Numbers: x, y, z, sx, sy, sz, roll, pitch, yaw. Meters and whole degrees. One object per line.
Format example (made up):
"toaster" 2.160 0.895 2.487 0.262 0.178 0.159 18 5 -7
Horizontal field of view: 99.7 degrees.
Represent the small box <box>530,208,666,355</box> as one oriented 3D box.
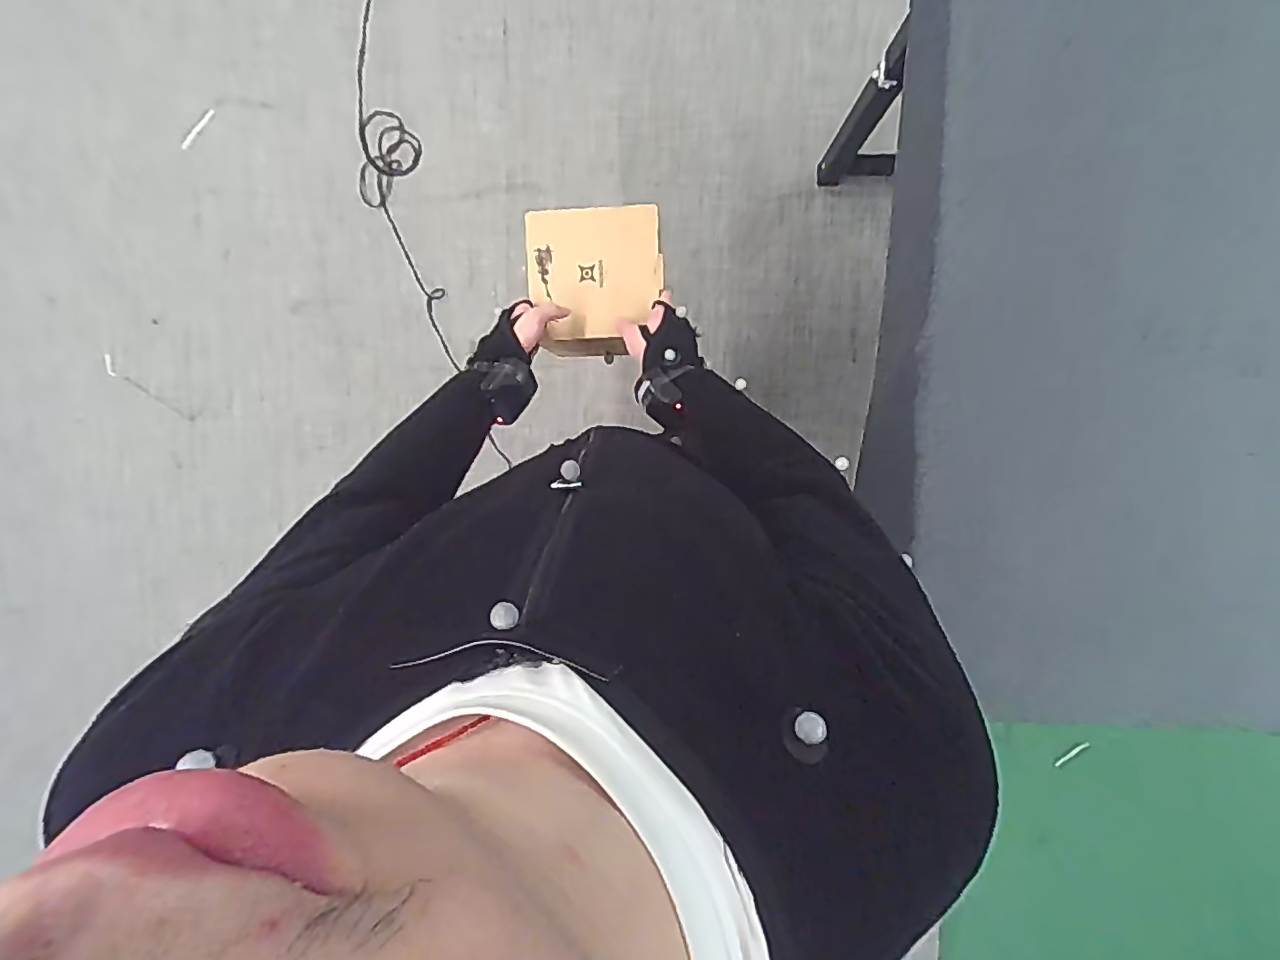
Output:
"small box" -0.051 -0.275 0.780 0.179 0.176 0.168 -1 96 4
